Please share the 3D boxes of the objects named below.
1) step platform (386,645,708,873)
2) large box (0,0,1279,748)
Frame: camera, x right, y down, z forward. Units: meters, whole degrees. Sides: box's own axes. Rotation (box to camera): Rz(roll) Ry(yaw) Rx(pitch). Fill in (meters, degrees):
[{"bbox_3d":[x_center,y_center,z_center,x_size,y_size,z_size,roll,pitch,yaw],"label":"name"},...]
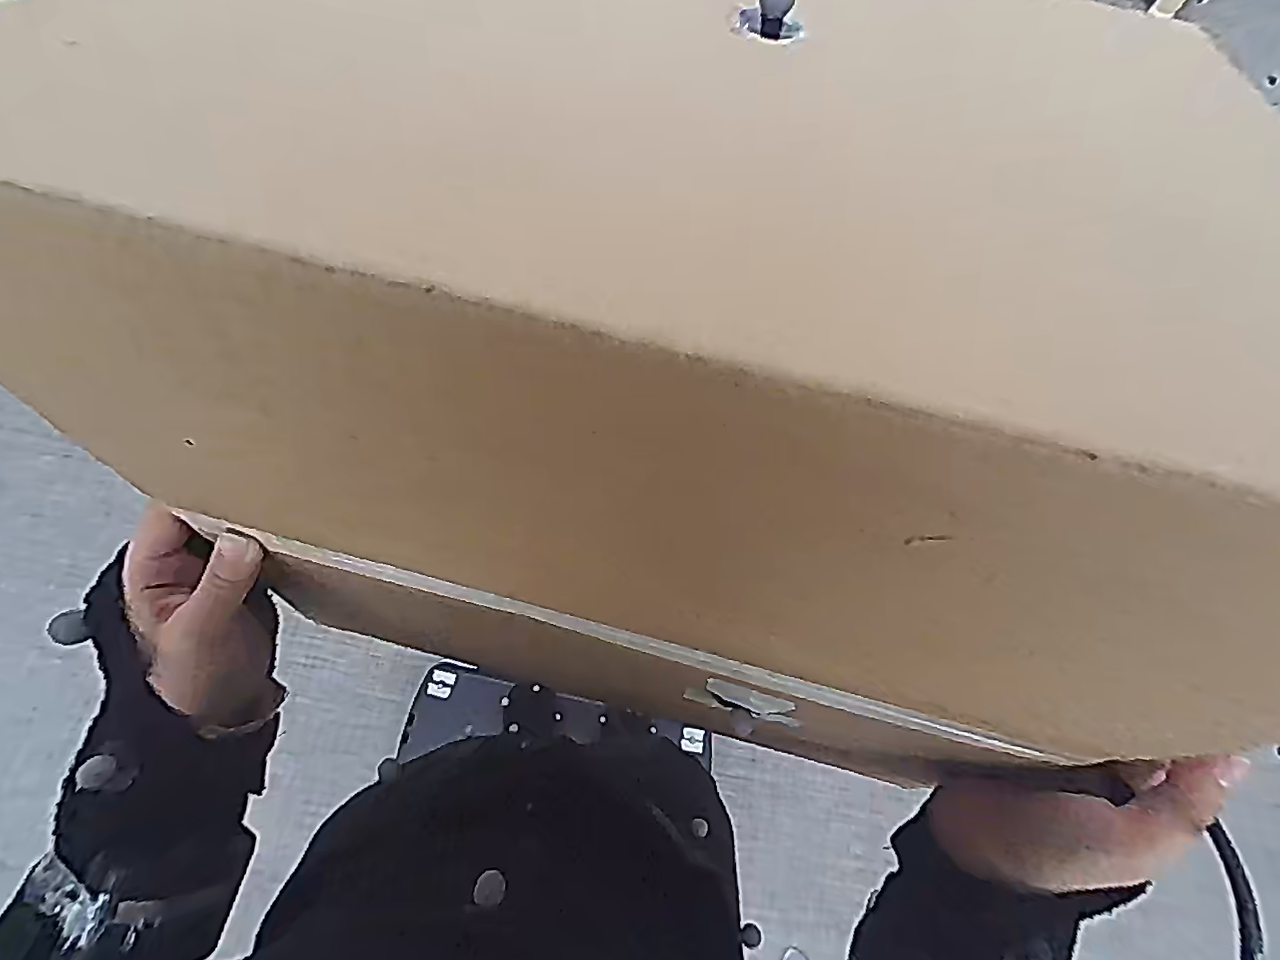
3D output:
[{"bbox_3d":[-0.194,0.609,1.220,0.684,0.204,0.286,17,73,2],"label":"step platform"},{"bbox_3d":[0.041,-0.085,0.300,0.408,0.320,0.320,14,58,3],"label":"large box"}]
